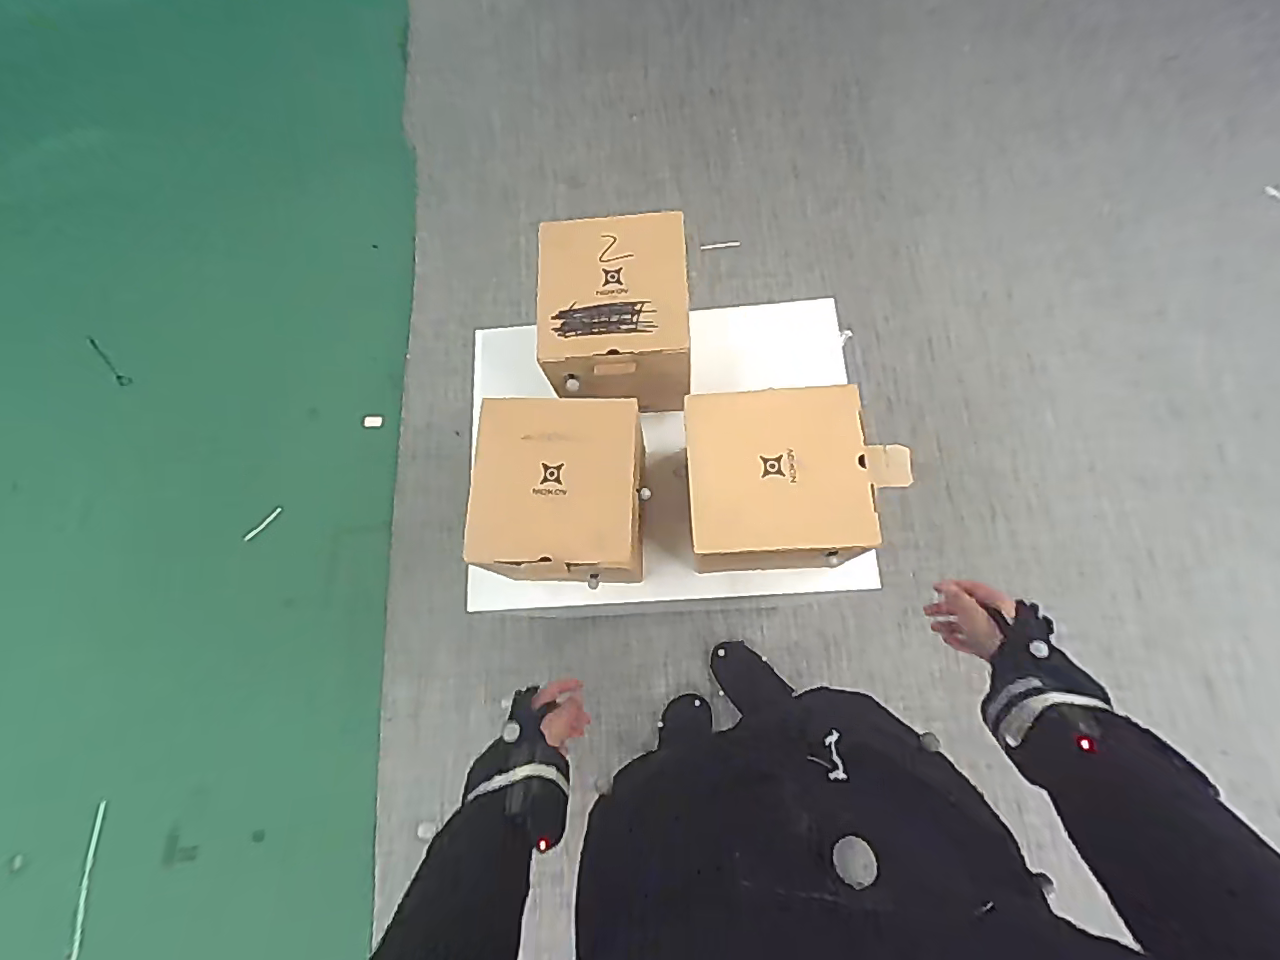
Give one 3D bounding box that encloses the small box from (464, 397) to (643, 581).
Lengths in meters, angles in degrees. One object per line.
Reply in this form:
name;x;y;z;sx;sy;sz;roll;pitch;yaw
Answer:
small box;-0.083;0.019;0.616;0.168;0.176;0.179;0;73;3
